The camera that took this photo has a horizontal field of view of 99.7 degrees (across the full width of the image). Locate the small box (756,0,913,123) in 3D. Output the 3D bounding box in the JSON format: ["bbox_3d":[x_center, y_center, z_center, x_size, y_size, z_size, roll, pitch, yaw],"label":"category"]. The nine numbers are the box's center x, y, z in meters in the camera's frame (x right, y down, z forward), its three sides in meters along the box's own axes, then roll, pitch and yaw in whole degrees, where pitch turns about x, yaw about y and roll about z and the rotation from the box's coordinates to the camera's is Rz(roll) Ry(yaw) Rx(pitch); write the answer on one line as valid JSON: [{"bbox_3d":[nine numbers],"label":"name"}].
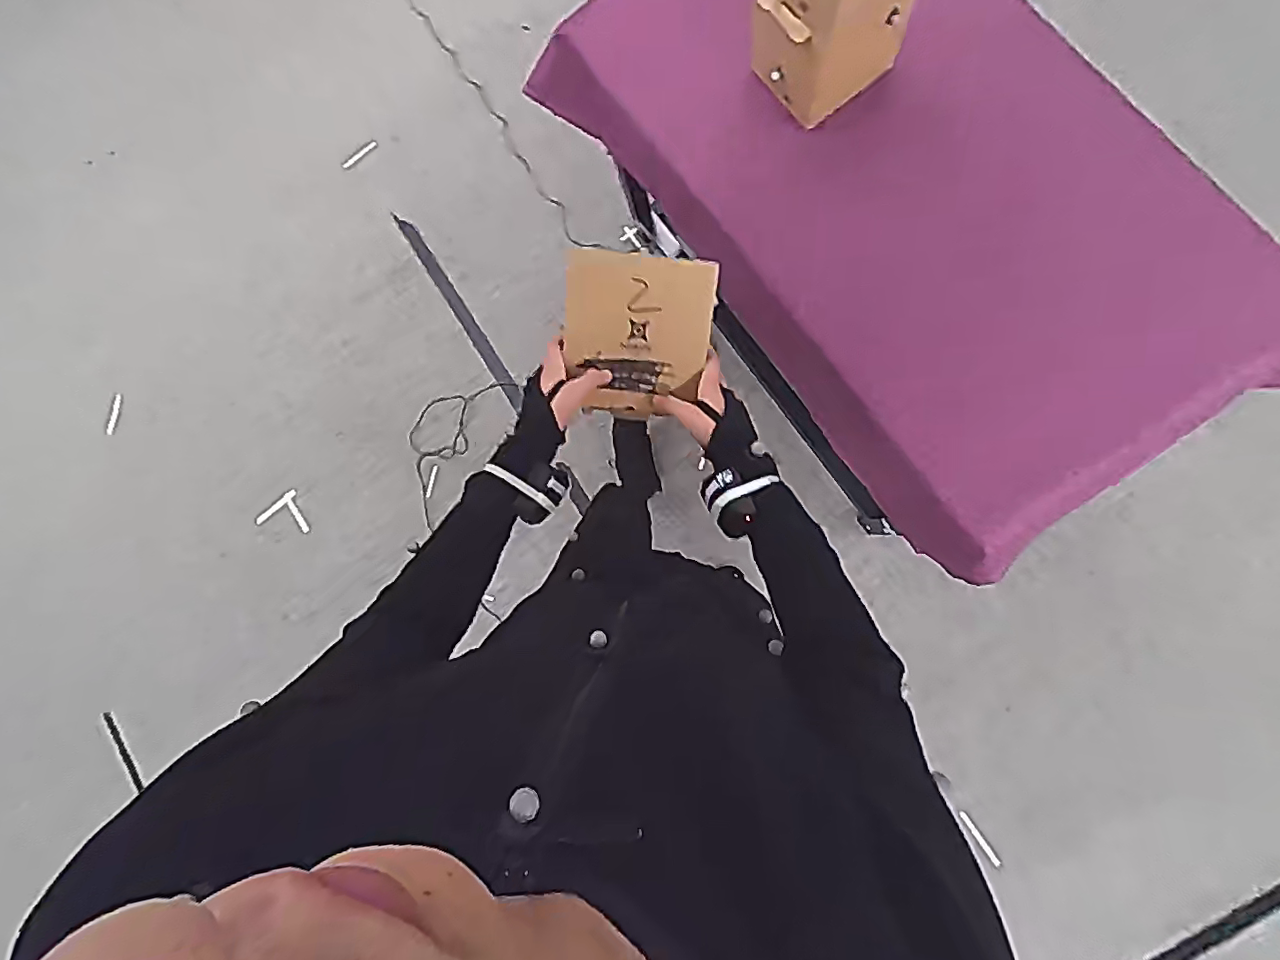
[{"bbox_3d":[0.297,-0.721,0.846,0.179,0.176,0.168,-36,80,5],"label":"small box"}]

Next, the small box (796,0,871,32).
[{"bbox_3d":[0.270,-0.737,0.685,0.179,0.176,0.168,-40,81,3],"label":"small box"}]
